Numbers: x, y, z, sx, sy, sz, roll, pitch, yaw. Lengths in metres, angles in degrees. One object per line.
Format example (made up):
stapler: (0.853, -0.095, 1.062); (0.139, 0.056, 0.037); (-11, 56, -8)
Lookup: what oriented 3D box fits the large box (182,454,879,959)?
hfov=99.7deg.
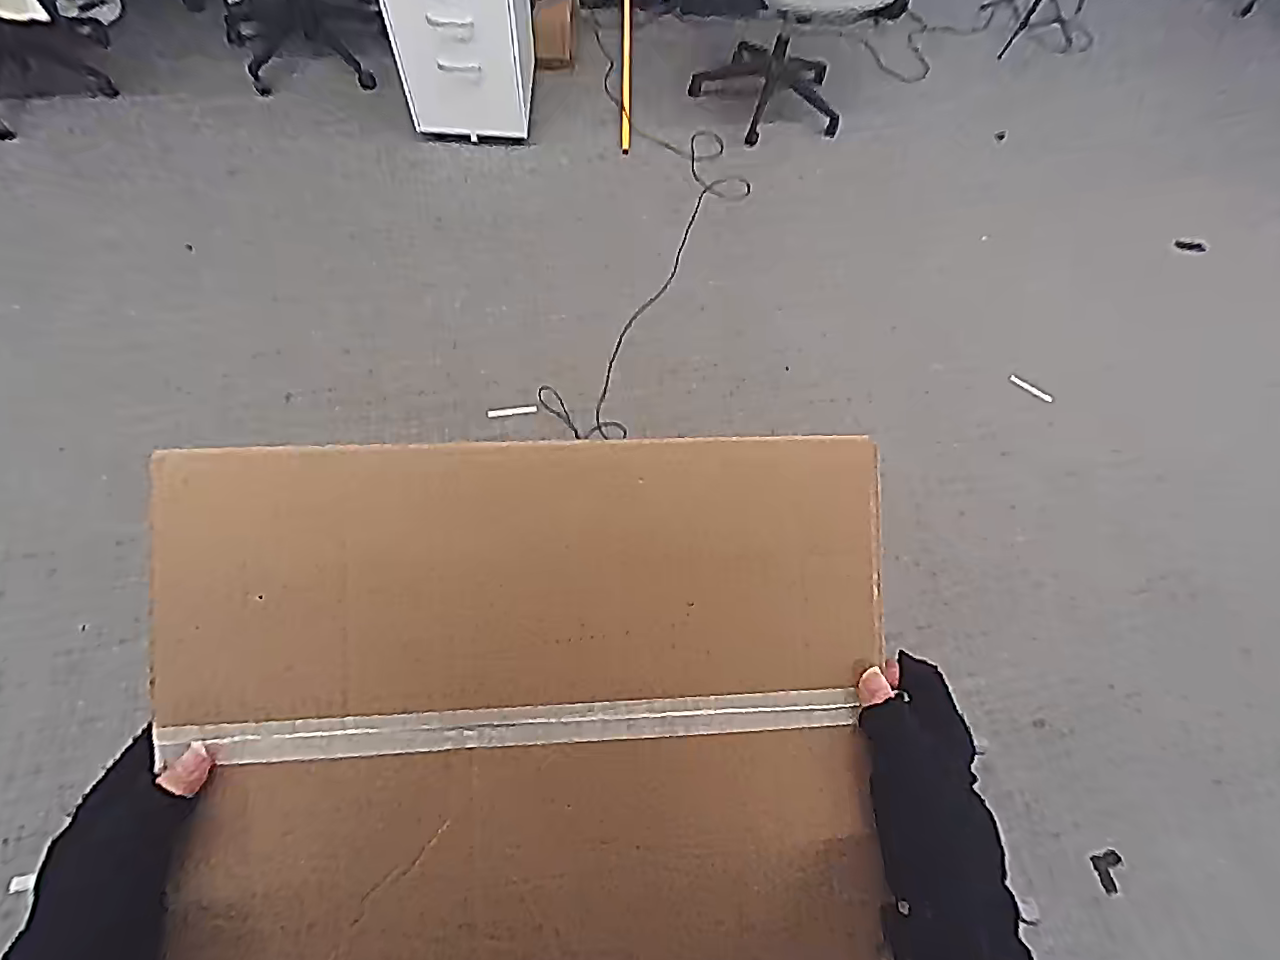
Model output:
large box: (-0.064, 0.147, 0.466); (0.408, 0.320, 0.320); (-2, 89, -4)
